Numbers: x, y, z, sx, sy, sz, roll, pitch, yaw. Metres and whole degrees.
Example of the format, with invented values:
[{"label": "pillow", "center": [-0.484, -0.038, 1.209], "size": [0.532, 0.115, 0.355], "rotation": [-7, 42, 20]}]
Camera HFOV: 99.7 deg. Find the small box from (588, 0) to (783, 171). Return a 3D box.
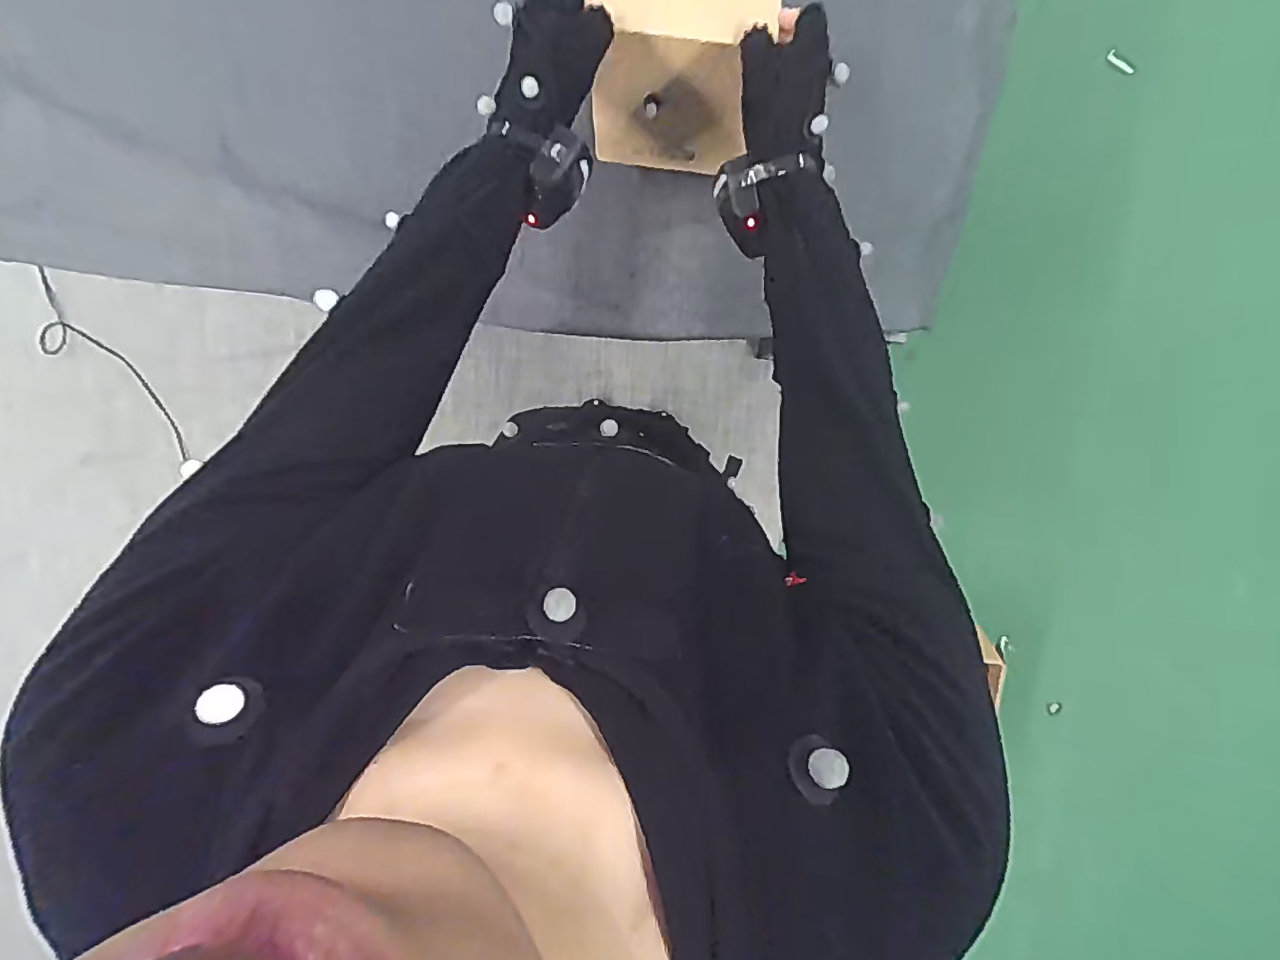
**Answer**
[{"label": "small box", "center": [0.046, -0.448, 0.543], "size": [0.168, 0.176, 0.179], "rotation": [7, 81, -1]}]
